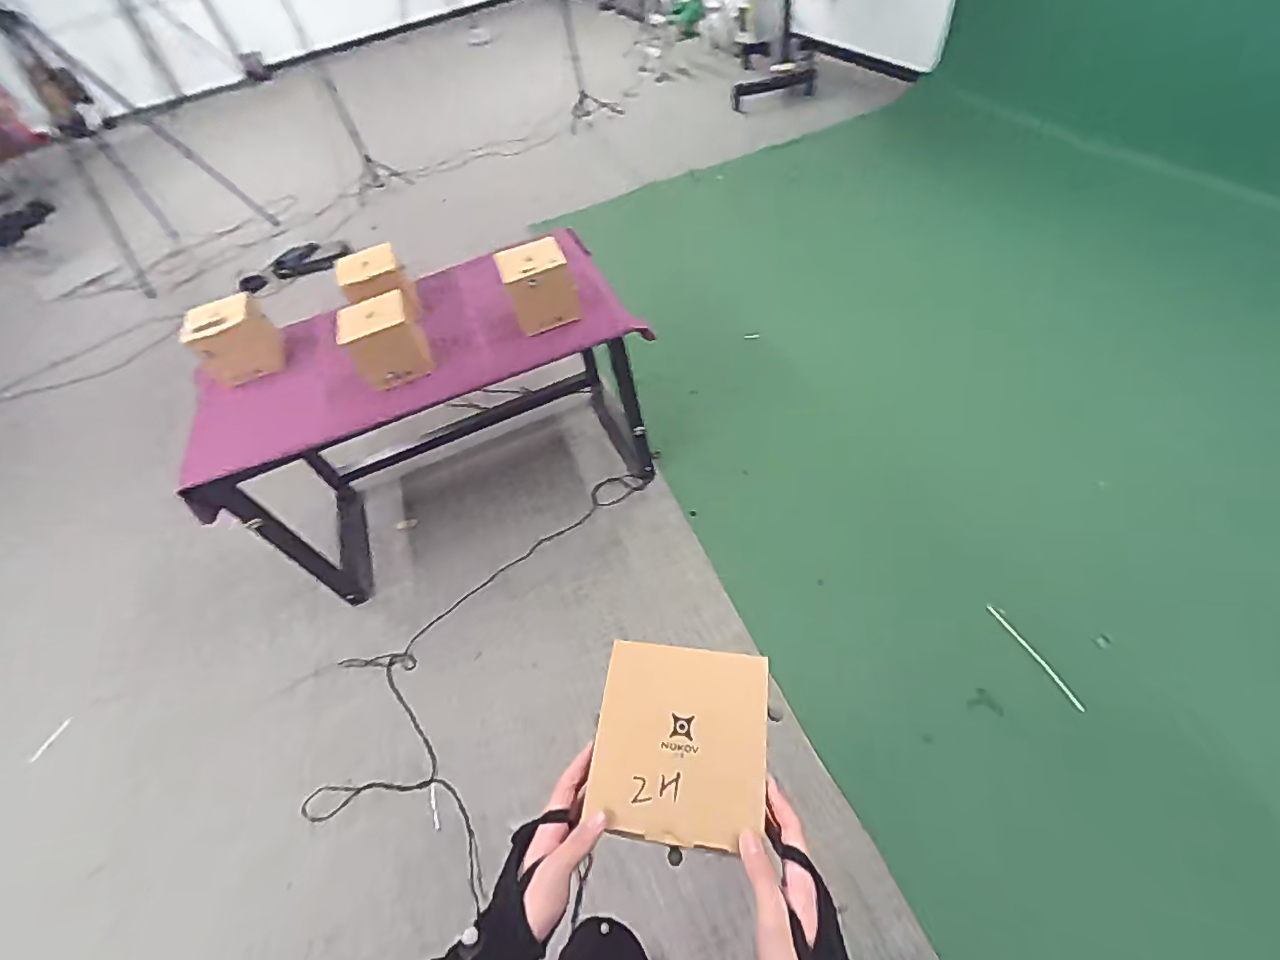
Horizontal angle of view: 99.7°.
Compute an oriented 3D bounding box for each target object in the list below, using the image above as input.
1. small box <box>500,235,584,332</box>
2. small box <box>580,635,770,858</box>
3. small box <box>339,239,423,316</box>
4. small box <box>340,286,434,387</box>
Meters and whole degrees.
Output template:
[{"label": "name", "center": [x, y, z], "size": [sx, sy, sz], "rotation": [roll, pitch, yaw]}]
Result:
[{"label": "small box", "center": [-0.265, -0.532, 1.471], "size": [0.168, 0.176, 0.179], "rotation": [-21, 49, -4]}, {"label": "small box", "center": [0.047, 0.288, 0.583], "size": [0.168, 0.176, 0.179], "rotation": [3, 56, 11]}, {"label": "small box", "center": [-0.768, -0.582, 1.611], "size": [0.168, 0.176, 0.179], "rotation": [-23, 53, -8]}, {"label": "small box", "center": [-0.663, -0.375, 1.425], "size": [0.168, 0.176, 0.179], "rotation": [-22, 51, -6]}]
